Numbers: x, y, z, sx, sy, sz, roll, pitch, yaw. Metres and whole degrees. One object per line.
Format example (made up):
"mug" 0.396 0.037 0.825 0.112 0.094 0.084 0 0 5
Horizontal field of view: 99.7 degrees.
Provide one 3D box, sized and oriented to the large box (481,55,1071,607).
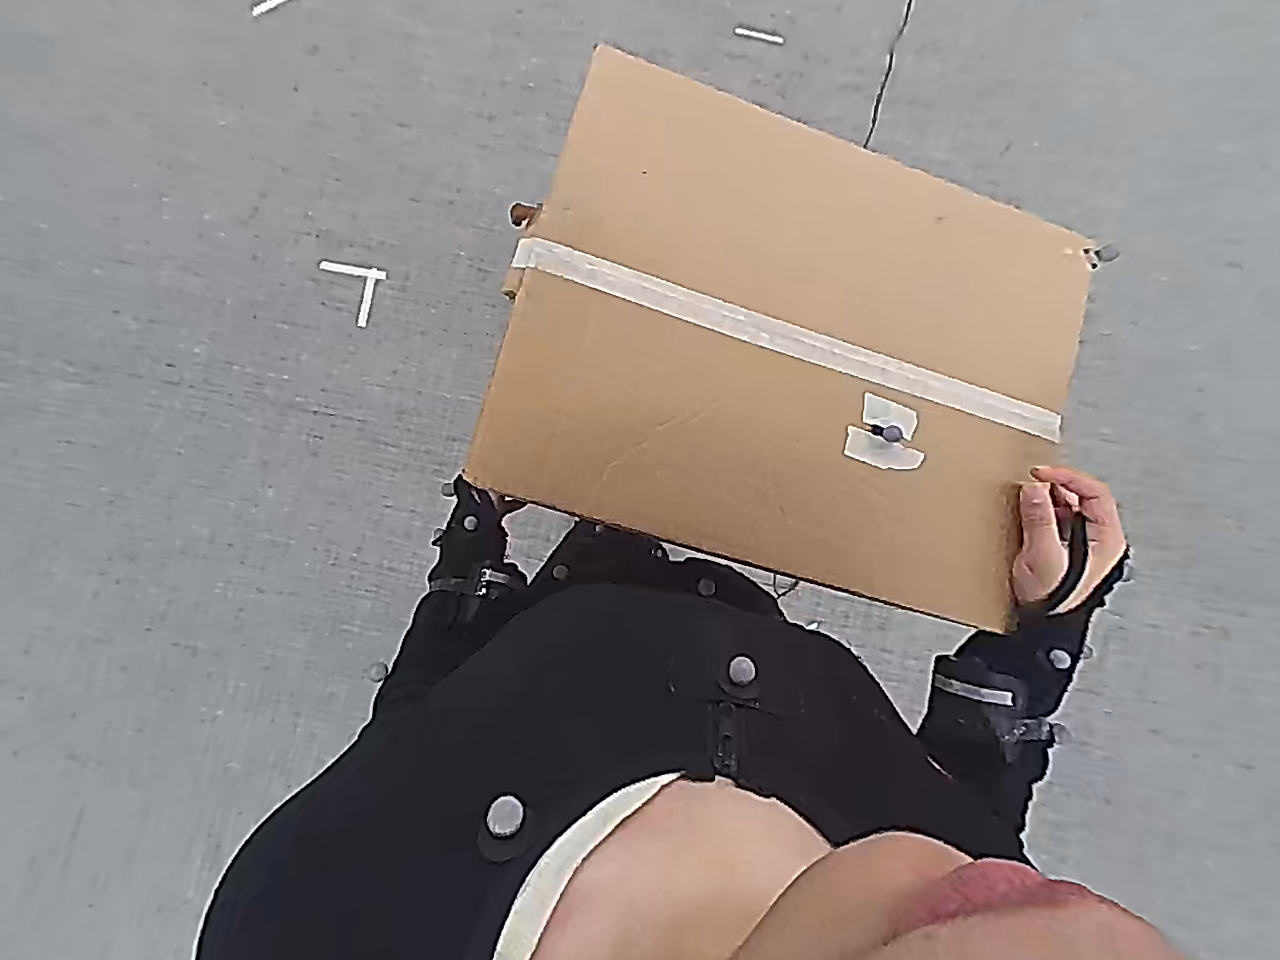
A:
"large box" 0.095 -0.093 0.536 0.408 0.320 0.320 16 85 -9
